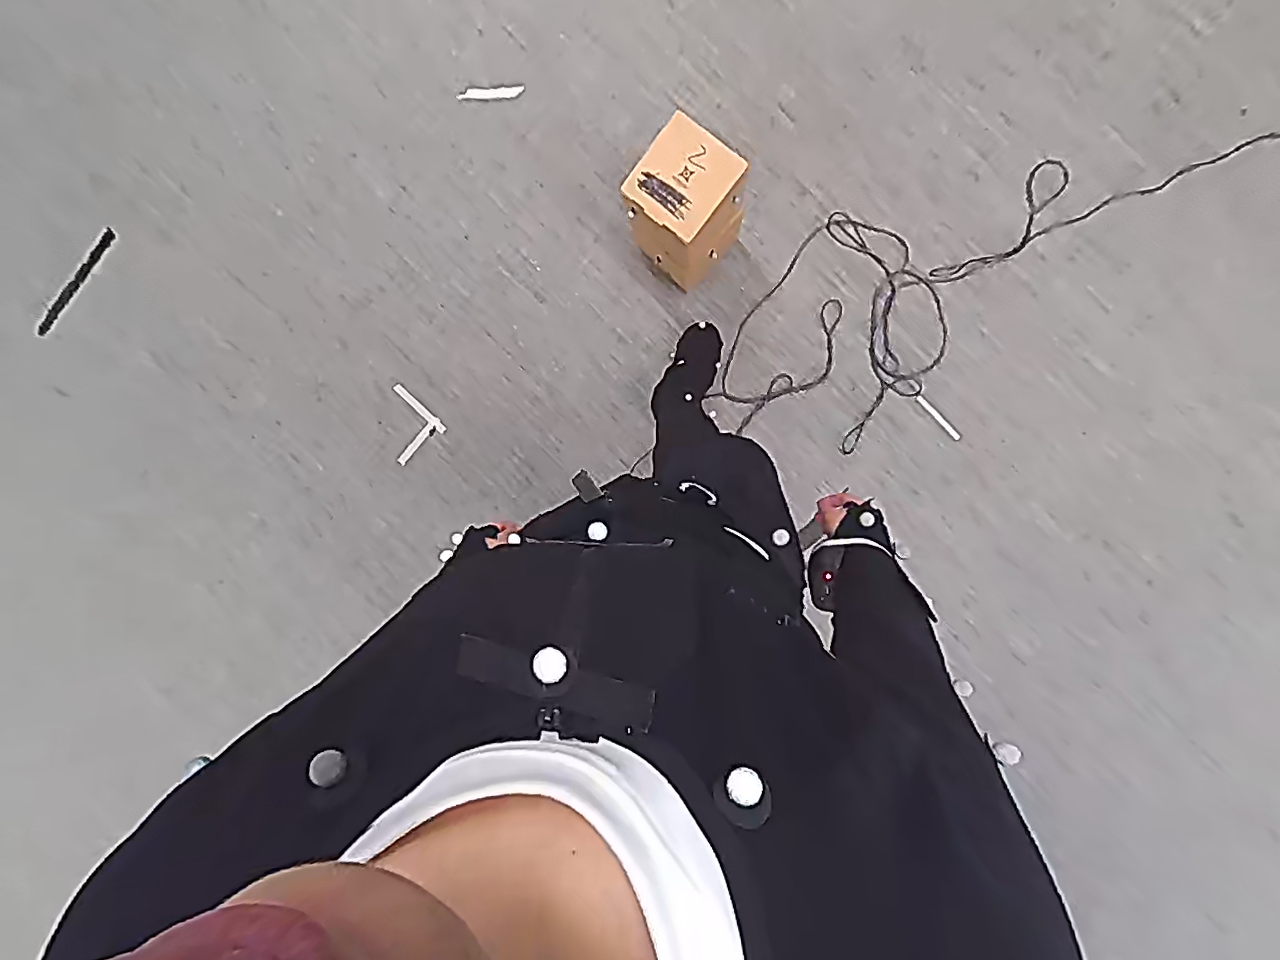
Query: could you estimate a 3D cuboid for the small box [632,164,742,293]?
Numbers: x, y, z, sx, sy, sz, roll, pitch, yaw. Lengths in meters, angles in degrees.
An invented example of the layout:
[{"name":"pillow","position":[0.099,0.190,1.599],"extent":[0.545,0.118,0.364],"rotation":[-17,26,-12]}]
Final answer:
[{"name":"small box","position":[0.108,-0.553,1.218],"extent":[0.168,0.176,0.179],"rotation":[44,98,1]}]
